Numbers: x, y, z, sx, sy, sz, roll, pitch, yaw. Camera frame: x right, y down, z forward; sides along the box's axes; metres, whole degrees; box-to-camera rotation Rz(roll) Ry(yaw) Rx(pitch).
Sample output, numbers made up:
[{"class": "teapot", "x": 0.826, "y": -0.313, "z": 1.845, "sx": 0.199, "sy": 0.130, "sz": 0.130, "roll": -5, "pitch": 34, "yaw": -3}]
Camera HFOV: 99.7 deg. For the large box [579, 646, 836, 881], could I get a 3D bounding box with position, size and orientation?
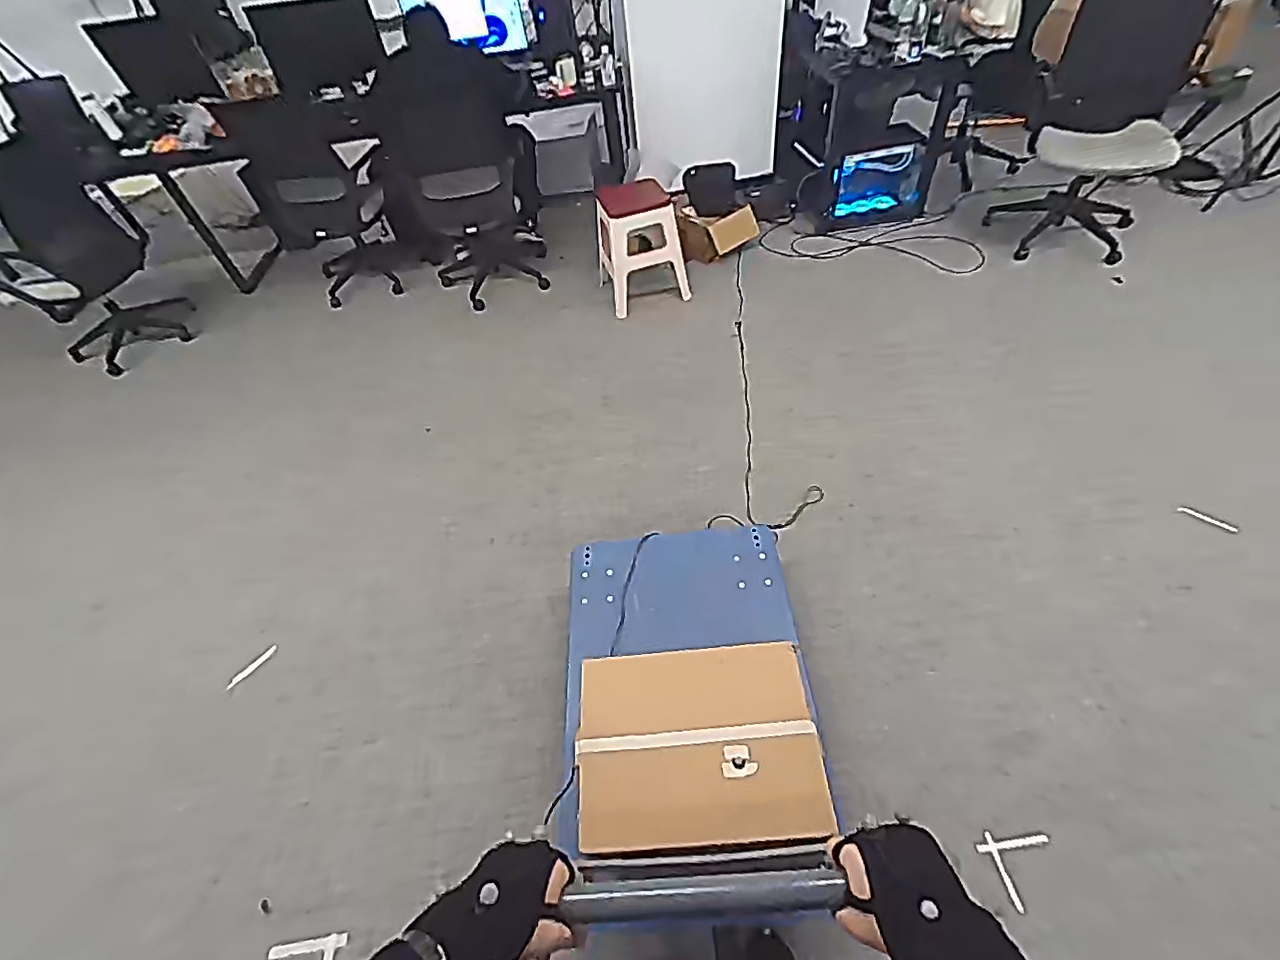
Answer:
[{"class": "large box", "x": 0.106, "y": 0.545, "z": 1.031, "sx": 0.408, "sy": 0.320, "sz": 0.320, "roll": -6, "pitch": 50, "yaw": 2}]
